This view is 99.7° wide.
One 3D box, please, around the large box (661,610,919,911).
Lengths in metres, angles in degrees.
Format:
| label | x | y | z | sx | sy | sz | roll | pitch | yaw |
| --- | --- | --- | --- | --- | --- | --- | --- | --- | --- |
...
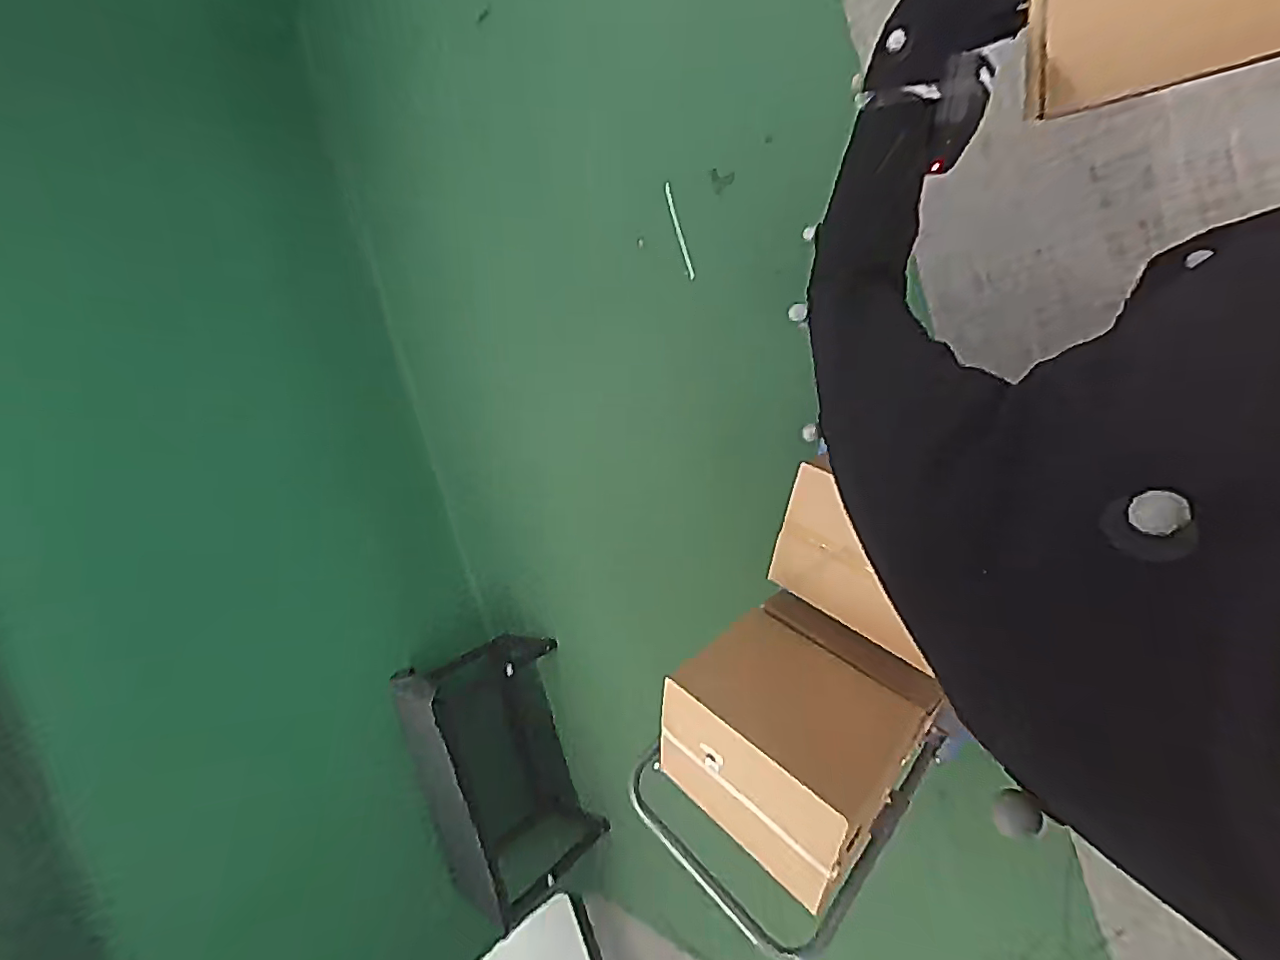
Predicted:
| label | x | y | z | sx | sy | sz | roll | pitch | yaw |
| --- | --- | --- | --- | --- | --- | --- | --- | --- | --- |
| large box | 0.297 | 0.552 | 1.140 | 0.408 | 0.320 | 0.320 | 28 | 128 | 38 |
